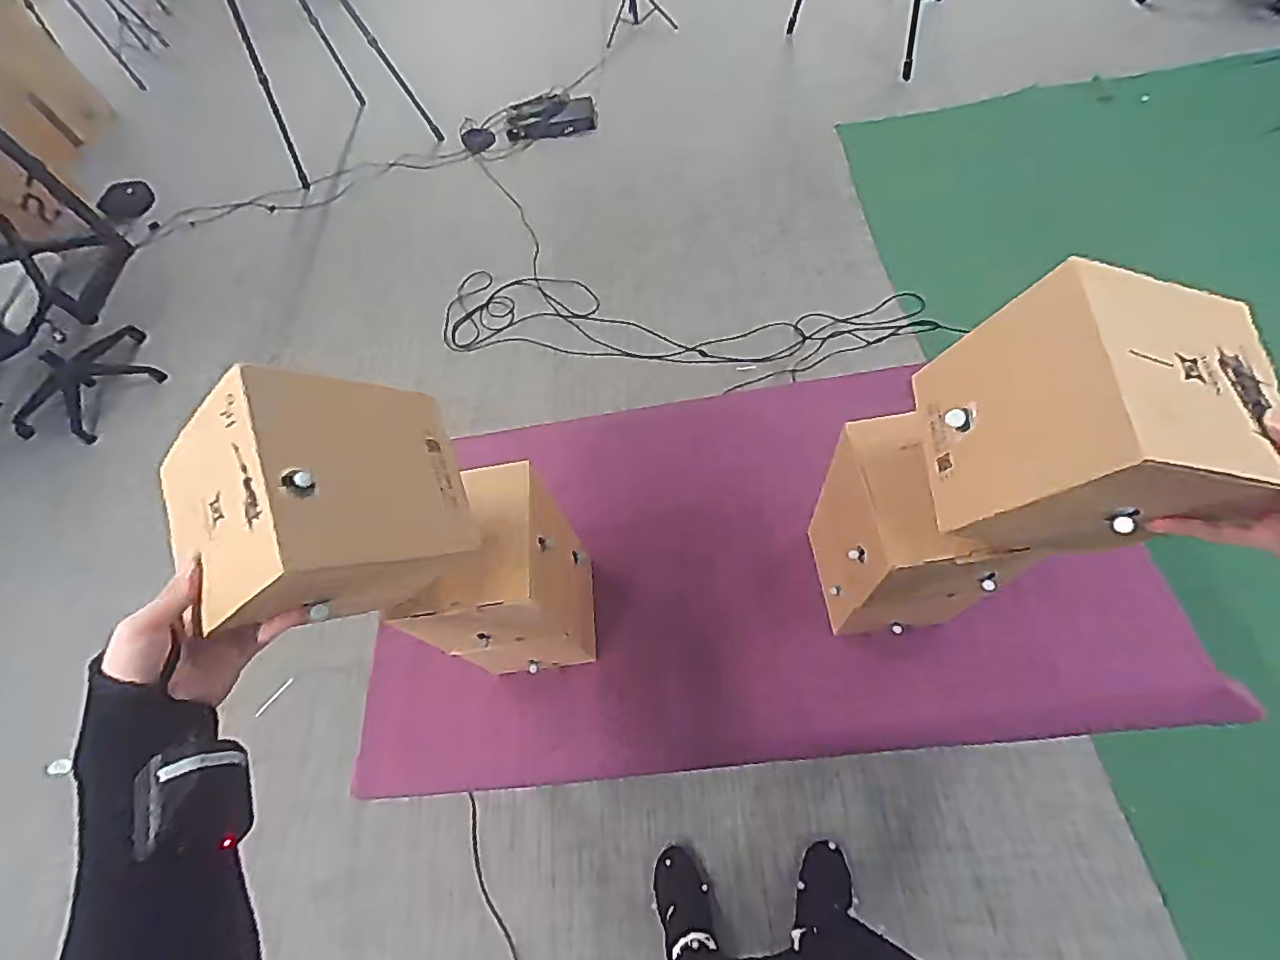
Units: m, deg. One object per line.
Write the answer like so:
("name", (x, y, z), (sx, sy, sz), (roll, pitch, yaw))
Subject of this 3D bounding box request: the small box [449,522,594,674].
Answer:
("small box", (-0.170, 0.185, 0.827), (0.168, 0.176, 0.179), (-9, 60, 5))

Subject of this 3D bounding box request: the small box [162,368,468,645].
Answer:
("small box", (-0.287, 0.027, 0.483), (0.179, 0.176, 0.168), (-31, 74, 30))

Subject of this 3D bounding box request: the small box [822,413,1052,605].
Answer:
("small box", (0.323, 0.038, 0.630), (0.168, 0.176, 0.179), (-9, 60, 5))

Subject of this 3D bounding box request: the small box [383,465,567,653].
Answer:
("small box", (-0.194, 0.106, 0.688), (0.168, 0.176, 0.179), (-10, 61, 4))

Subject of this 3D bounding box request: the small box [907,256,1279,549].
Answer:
("small box", (0.360, -0.046, 0.449), (0.179, 0.176, 0.168), (8, 66, -12))
